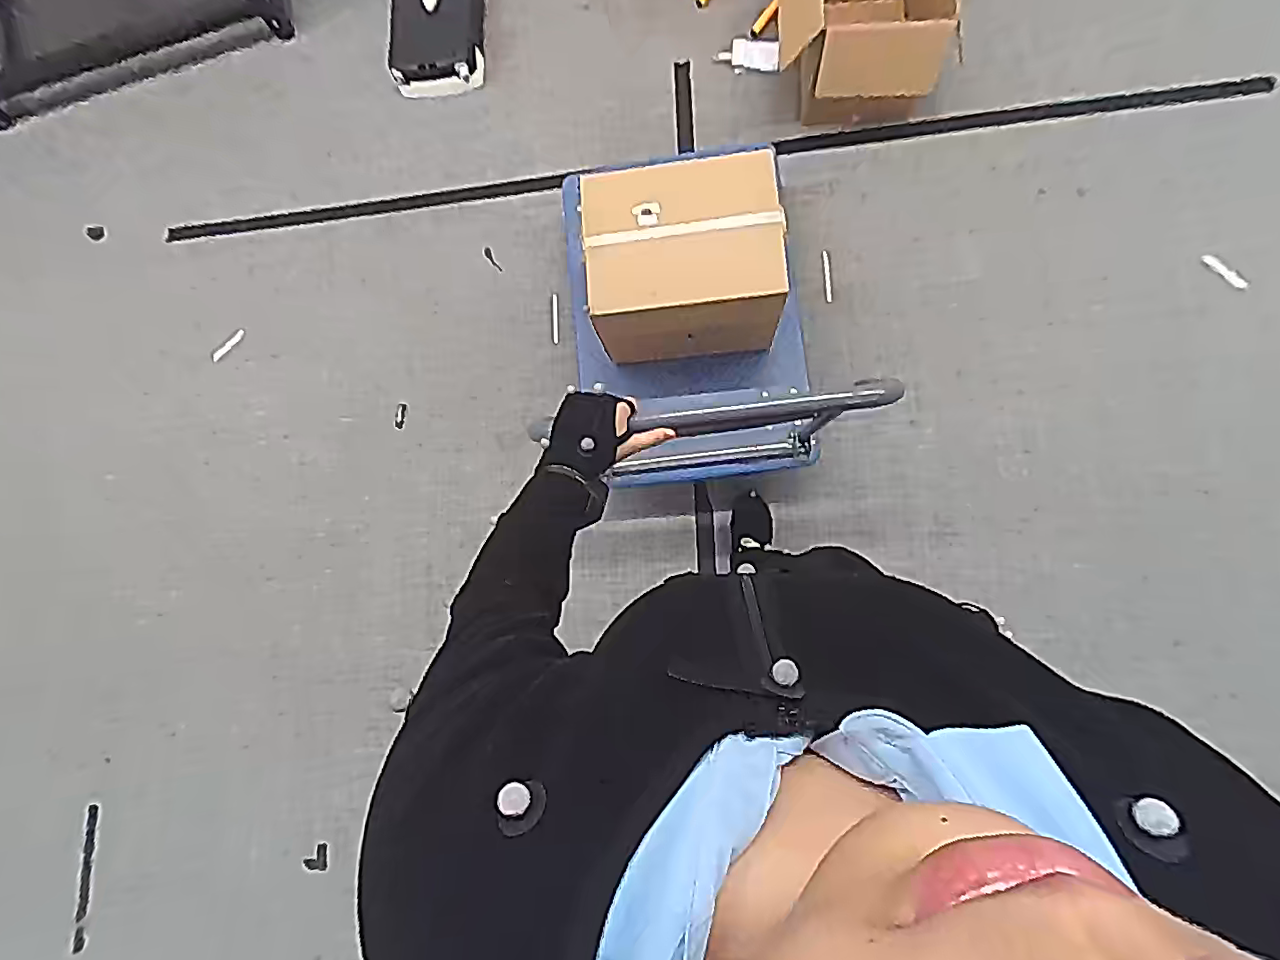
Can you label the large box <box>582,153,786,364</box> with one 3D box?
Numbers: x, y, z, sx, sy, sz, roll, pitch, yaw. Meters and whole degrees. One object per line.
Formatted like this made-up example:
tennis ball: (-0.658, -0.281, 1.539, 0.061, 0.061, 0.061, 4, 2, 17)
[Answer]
large box: (0.104, -0.487, 1.263, 0.408, 0.320, 0.320, -5, 81, 7)
